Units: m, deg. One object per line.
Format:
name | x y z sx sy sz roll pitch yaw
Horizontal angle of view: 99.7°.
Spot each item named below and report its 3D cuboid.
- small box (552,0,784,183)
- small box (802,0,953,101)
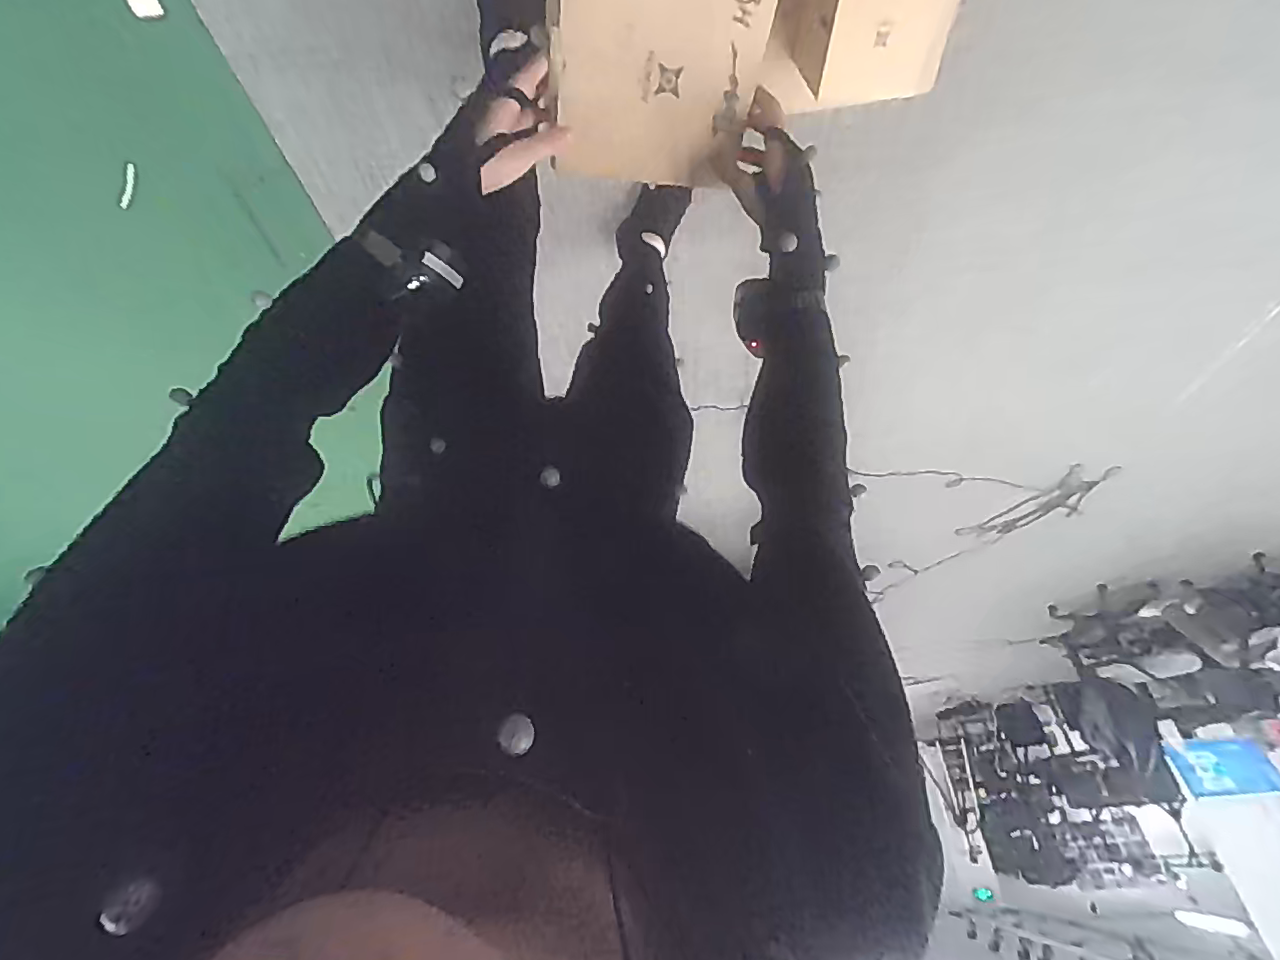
small box | 0.011 -0.404 0.502 0.179 0.176 0.168 0 138 -12
small box | 0.369 -0.741 0.860 0.168 0.176 0.179 -5 146 -1
